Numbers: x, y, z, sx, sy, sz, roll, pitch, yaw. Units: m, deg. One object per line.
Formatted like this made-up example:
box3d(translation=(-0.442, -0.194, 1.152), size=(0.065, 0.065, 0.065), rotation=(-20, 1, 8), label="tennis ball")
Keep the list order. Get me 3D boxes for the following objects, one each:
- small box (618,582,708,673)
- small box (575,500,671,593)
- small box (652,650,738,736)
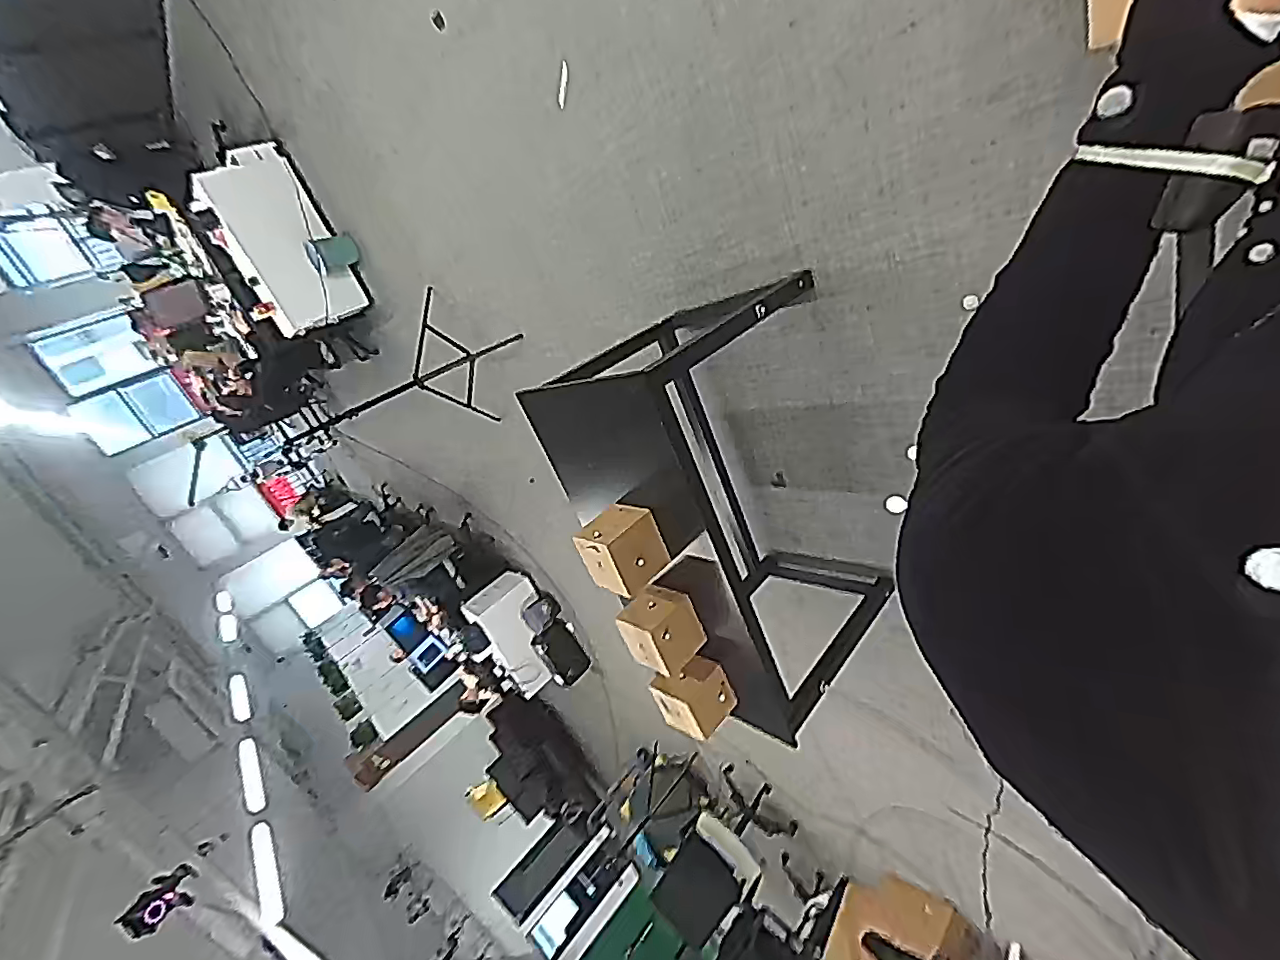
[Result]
box3d(translation=(0.071, 0.428, 1.602), size=(0.168, 0.176, 0.179), rotation=(5, 125, 52), label="small box")
box3d(translation=(-0.041, 0.178, 1.498), size=(0.168, 0.176, 0.179), rotation=(7, 128, 50), label="small box")
box3d(translation=(0.175, 0.655, 1.697), size=(0.179, 0.176, 0.168), rotation=(1, 123, 52), label="small box")
